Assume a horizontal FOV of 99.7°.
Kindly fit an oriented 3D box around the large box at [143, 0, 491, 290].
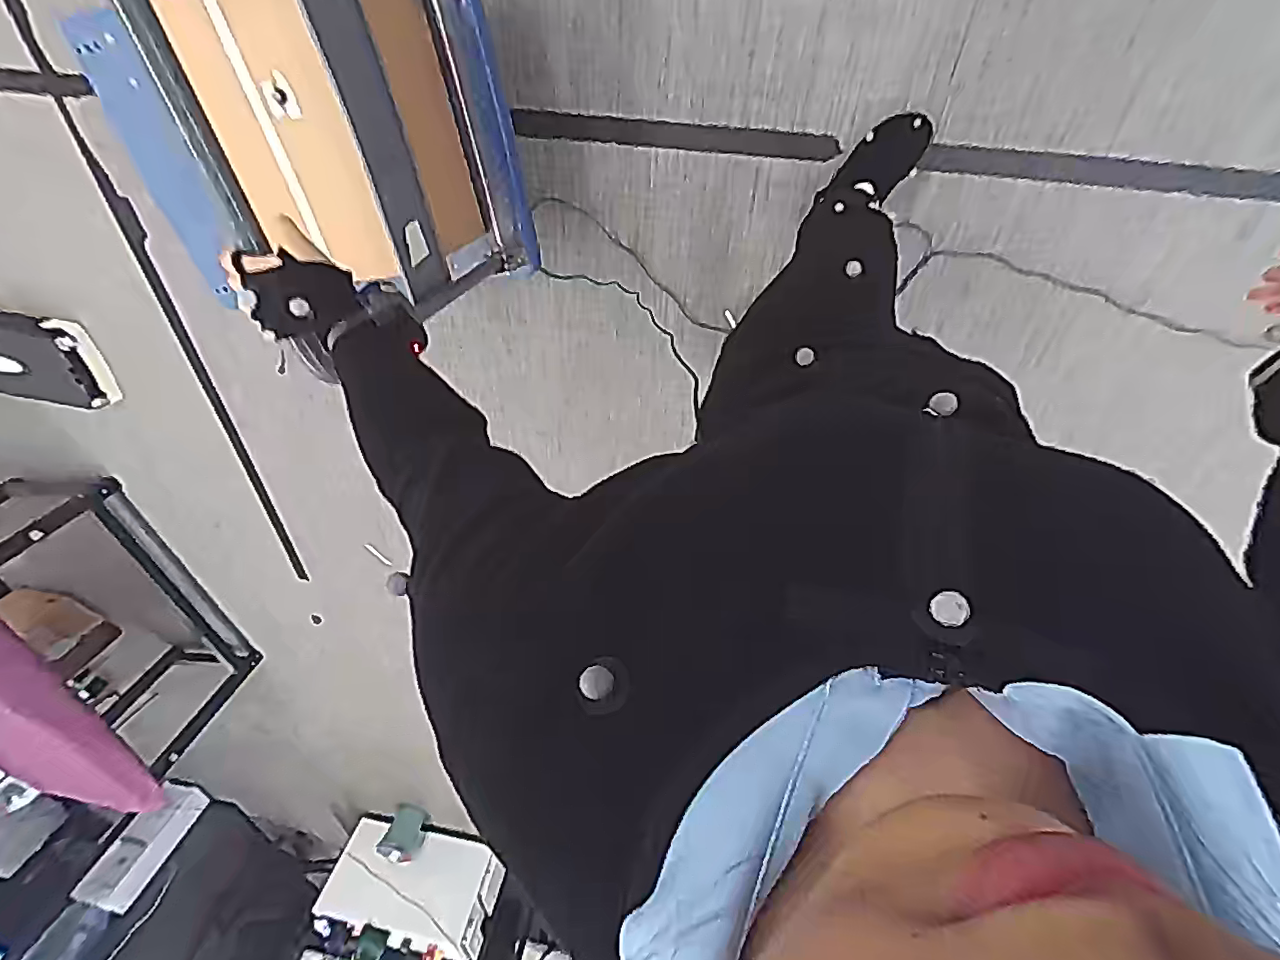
[{"bbox_3d":[-0.522,-0.602,0.979,0.320,0.320,0.408,-2,124,13],"label":"large box"}]
